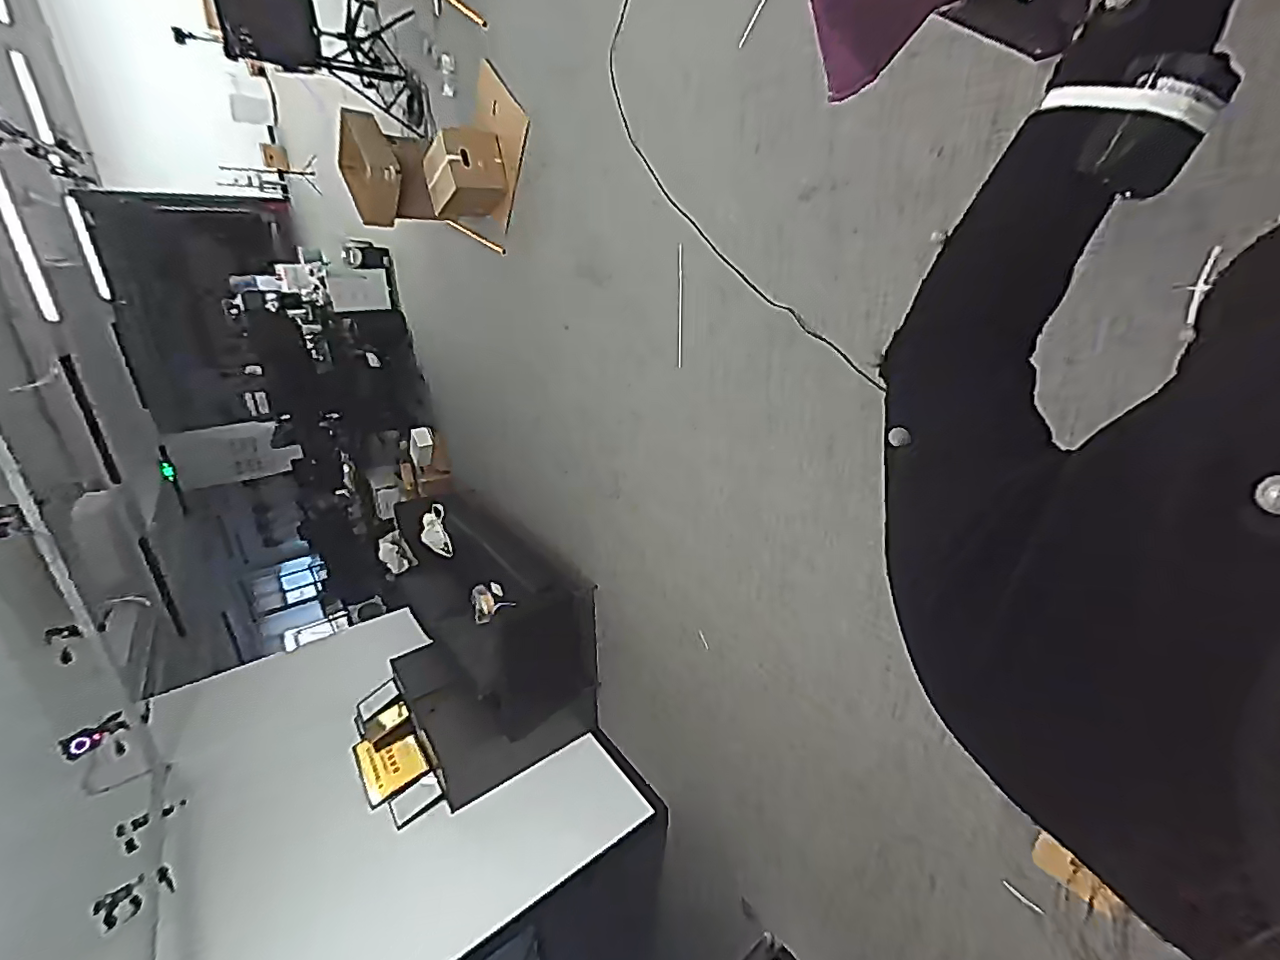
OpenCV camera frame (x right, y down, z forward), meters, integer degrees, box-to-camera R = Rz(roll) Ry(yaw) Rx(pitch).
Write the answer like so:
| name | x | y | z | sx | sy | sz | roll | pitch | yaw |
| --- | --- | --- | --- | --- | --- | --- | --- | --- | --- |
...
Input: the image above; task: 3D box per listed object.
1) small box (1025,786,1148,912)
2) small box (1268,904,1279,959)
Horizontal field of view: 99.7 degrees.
| name | x | y | z | sx | sy | sz | roll | pitch | yaw |
| --- | --- | --- | --- | --- | --- | --- | --- | --- | --- |
| small box | 1.128 | 0.917 | 1.369 | 0.179 | 0.176 | 0.168 | 28 | 126 | 47 |
| small box | 1.363 | 0.968 | 1.051 | 0.179 | 0.176 | 0.168 | 11 | 113 | 54 |
